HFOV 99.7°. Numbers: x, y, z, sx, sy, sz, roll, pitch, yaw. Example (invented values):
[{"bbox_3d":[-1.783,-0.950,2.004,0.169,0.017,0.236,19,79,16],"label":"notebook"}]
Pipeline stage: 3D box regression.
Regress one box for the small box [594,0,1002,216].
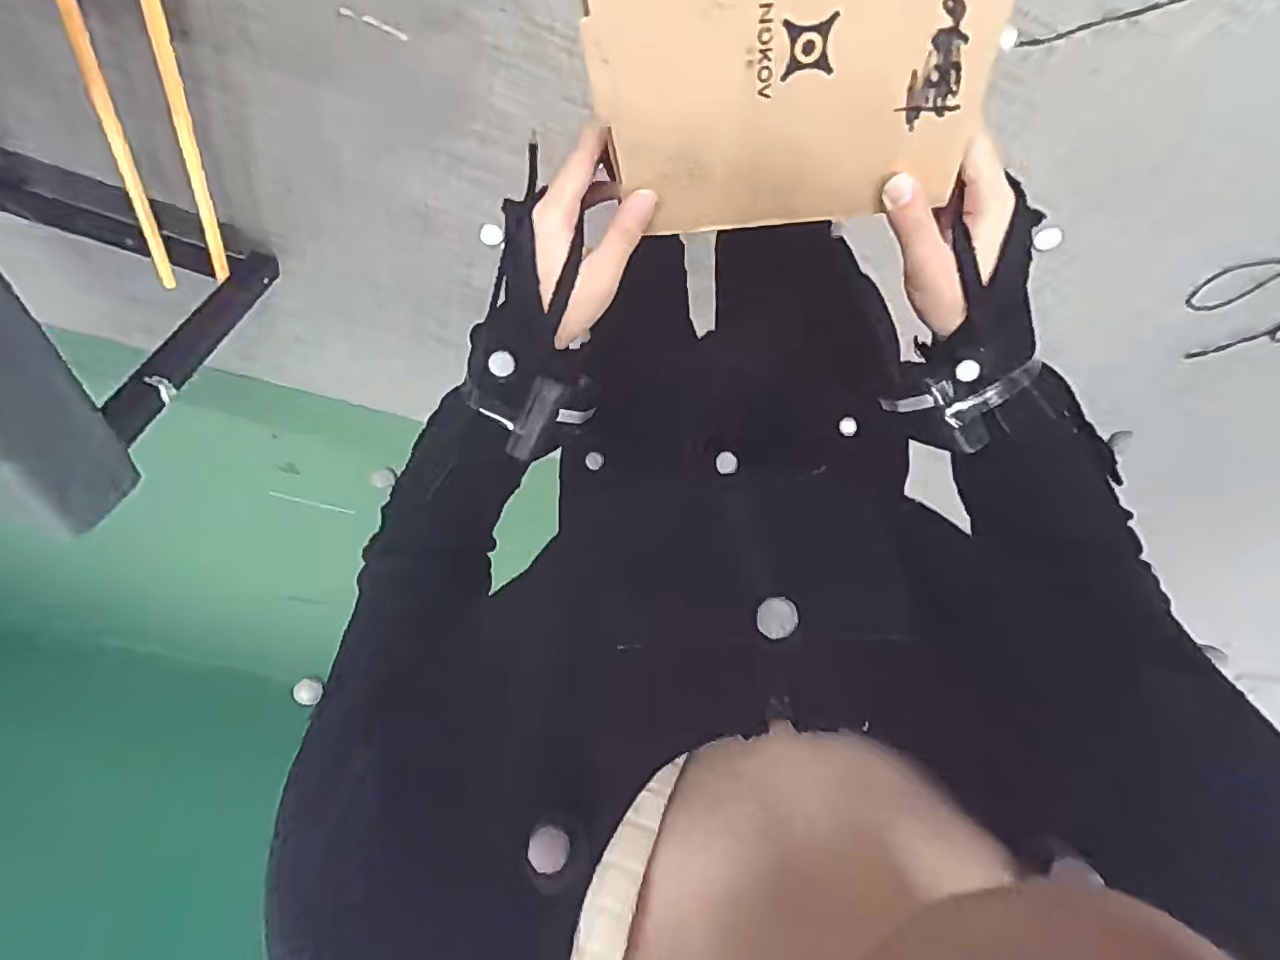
[{"bbox_3d":[0.077,-0.267,0.286,0.179,0.176,0.168,1,147,11],"label":"small box"}]
